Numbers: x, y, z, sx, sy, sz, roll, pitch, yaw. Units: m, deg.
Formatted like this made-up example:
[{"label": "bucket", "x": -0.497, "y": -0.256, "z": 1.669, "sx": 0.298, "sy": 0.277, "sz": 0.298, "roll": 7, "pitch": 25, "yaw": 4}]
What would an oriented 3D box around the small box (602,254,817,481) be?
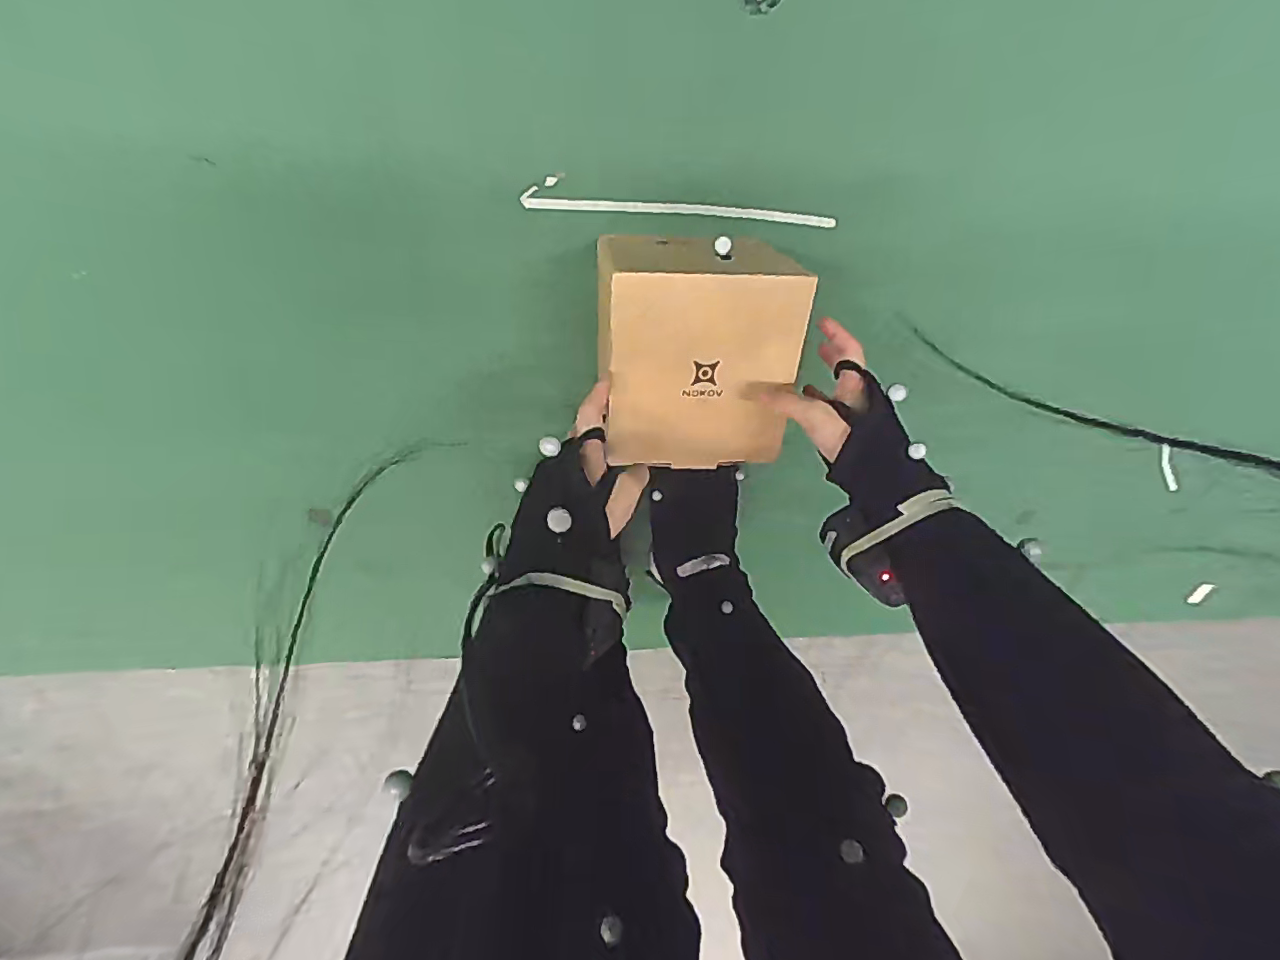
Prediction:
[{"label": "small box", "x": 0.049, "y": -0.117, "z": 0.533, "sx": 0.168, "sy": 0.176, "sz": 0.179, "roll": -1, "pitch": 123, "yaw": -7}]
